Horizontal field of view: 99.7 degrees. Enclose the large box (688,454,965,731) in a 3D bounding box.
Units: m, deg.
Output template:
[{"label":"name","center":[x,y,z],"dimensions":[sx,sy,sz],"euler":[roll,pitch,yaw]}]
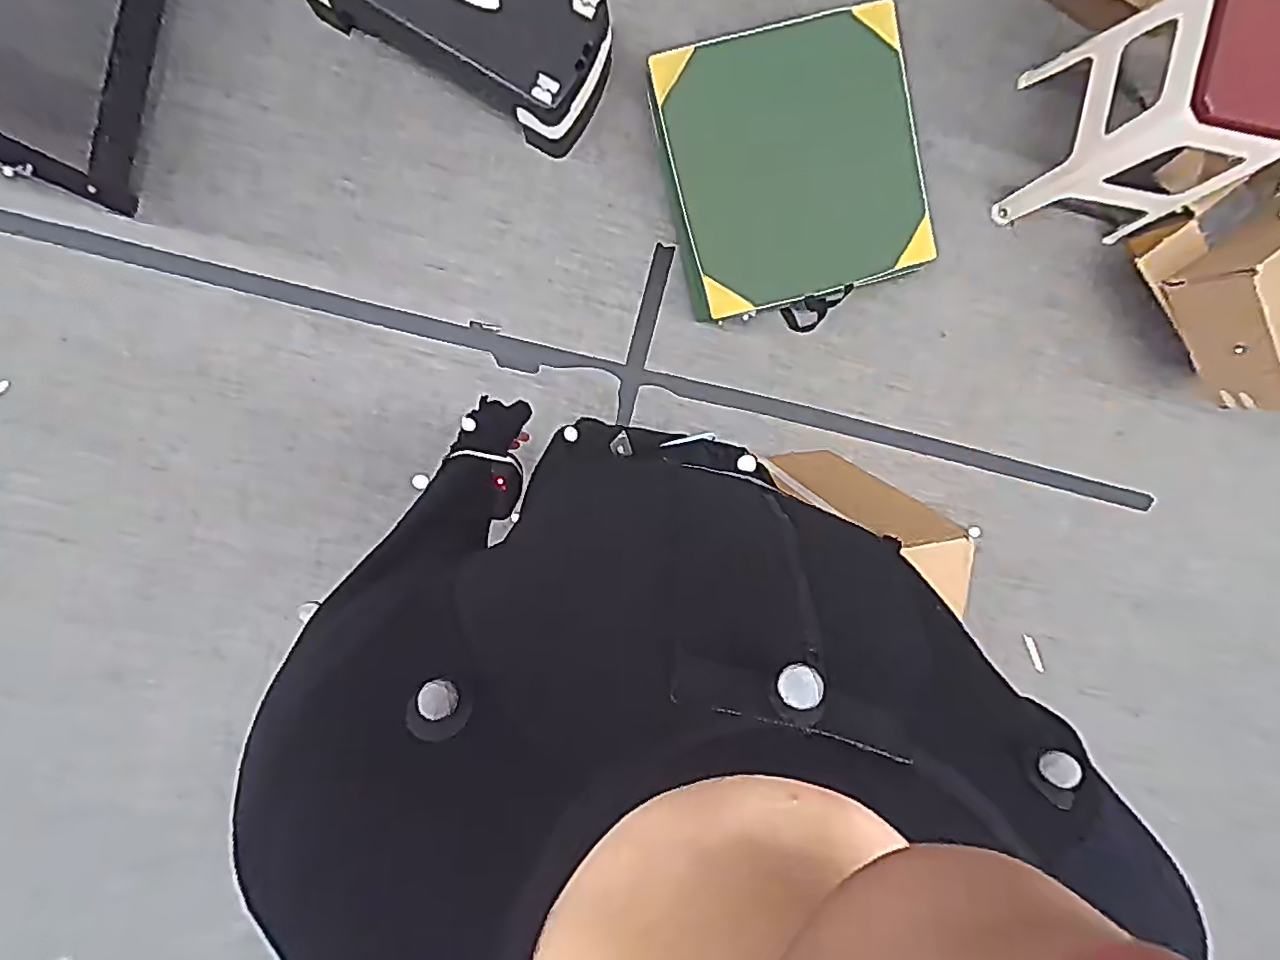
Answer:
[{"label":"large box","center":[0.292,0.173,0.999],"dimensions":[0.320,0.408,0.320],"euler":[-7,114,-10]}]
